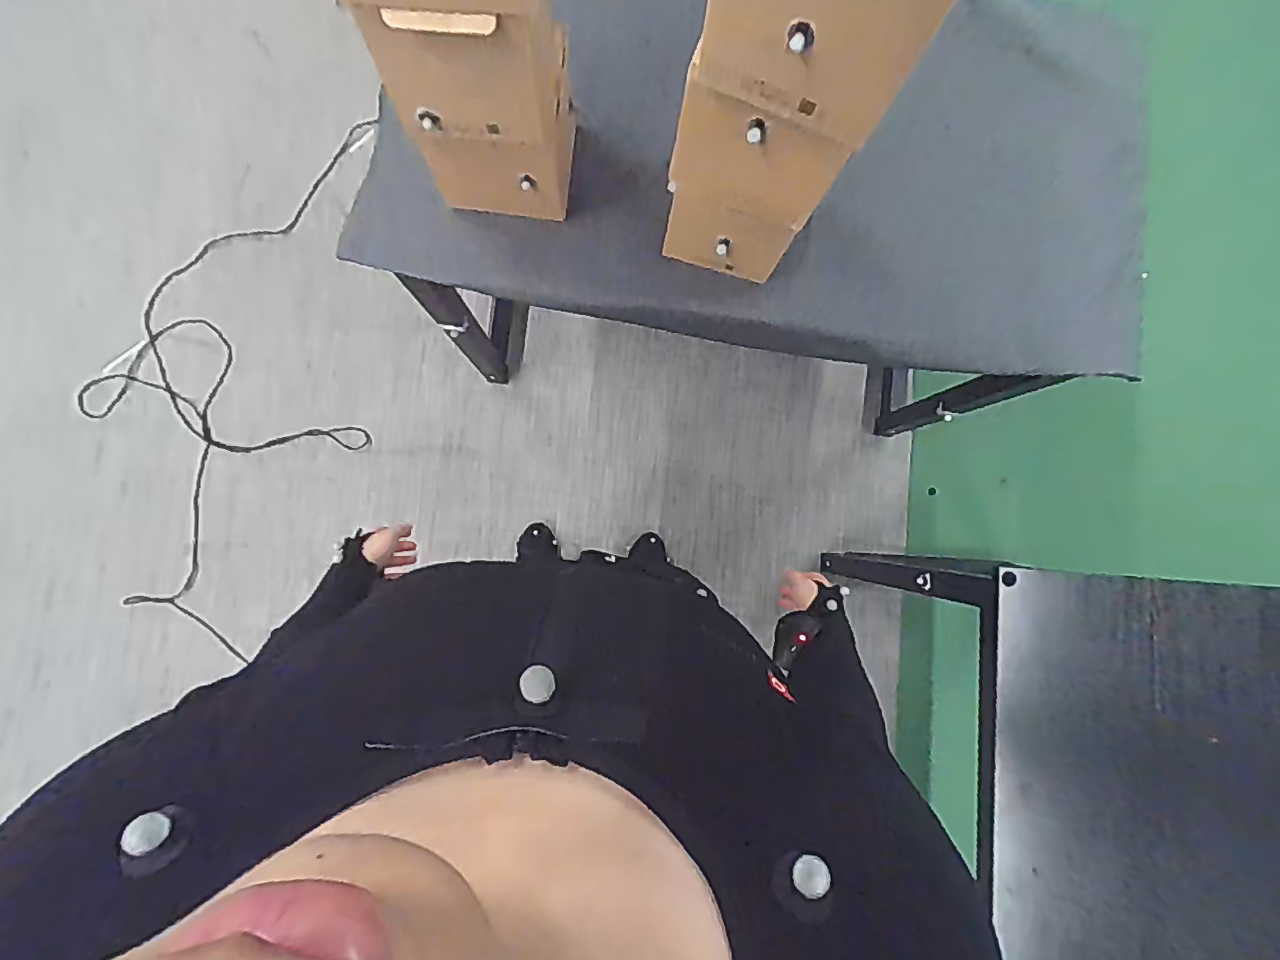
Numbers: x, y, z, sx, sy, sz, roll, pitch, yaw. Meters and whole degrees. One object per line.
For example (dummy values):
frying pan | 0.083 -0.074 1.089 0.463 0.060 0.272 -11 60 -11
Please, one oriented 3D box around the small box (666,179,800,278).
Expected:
small box | 0.135 -0.408 0.747 0.168 0.176 0.179 15 84 -1

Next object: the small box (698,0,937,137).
small box | 0.153 -0.417 0.419 0.168 0.176 0.179 22 84 0

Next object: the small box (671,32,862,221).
small box | 0.145 -0.415 0.584 0.179 0.176 0.168 20 84 0

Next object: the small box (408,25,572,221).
small box | -0.190 -0.481 0.739 0.179 0.176 0.168 5 83 -2

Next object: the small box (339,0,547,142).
small box | -0.191 -0.496 0.574 0.168 0.176 0.179 1 82 -4
